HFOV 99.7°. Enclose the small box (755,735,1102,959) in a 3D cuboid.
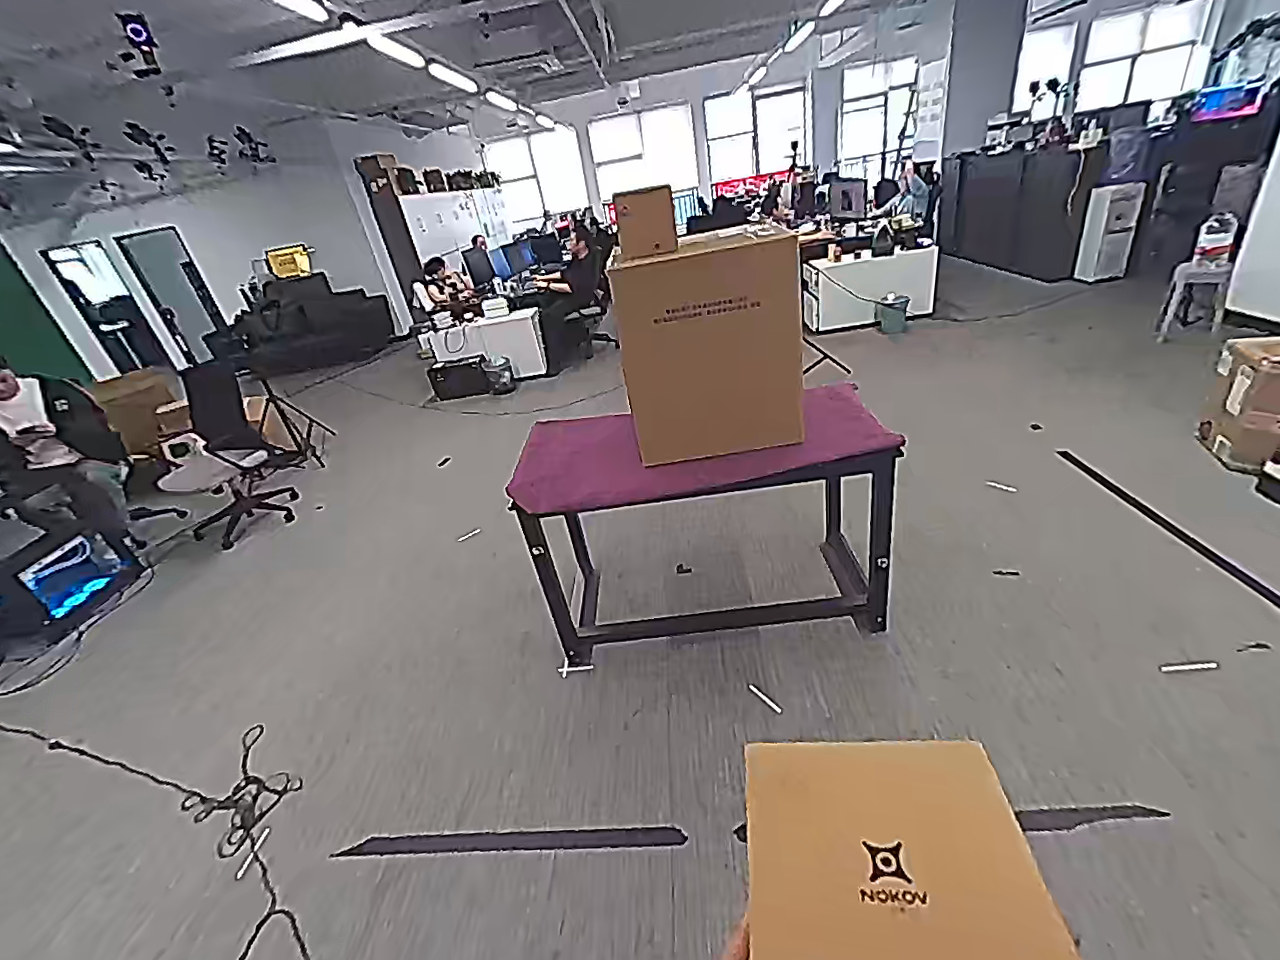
[{"bbox_3d":[0.166,0.296,0.350,0.168,0.176,0.179,-7,25,12],"label":"small box"}]
